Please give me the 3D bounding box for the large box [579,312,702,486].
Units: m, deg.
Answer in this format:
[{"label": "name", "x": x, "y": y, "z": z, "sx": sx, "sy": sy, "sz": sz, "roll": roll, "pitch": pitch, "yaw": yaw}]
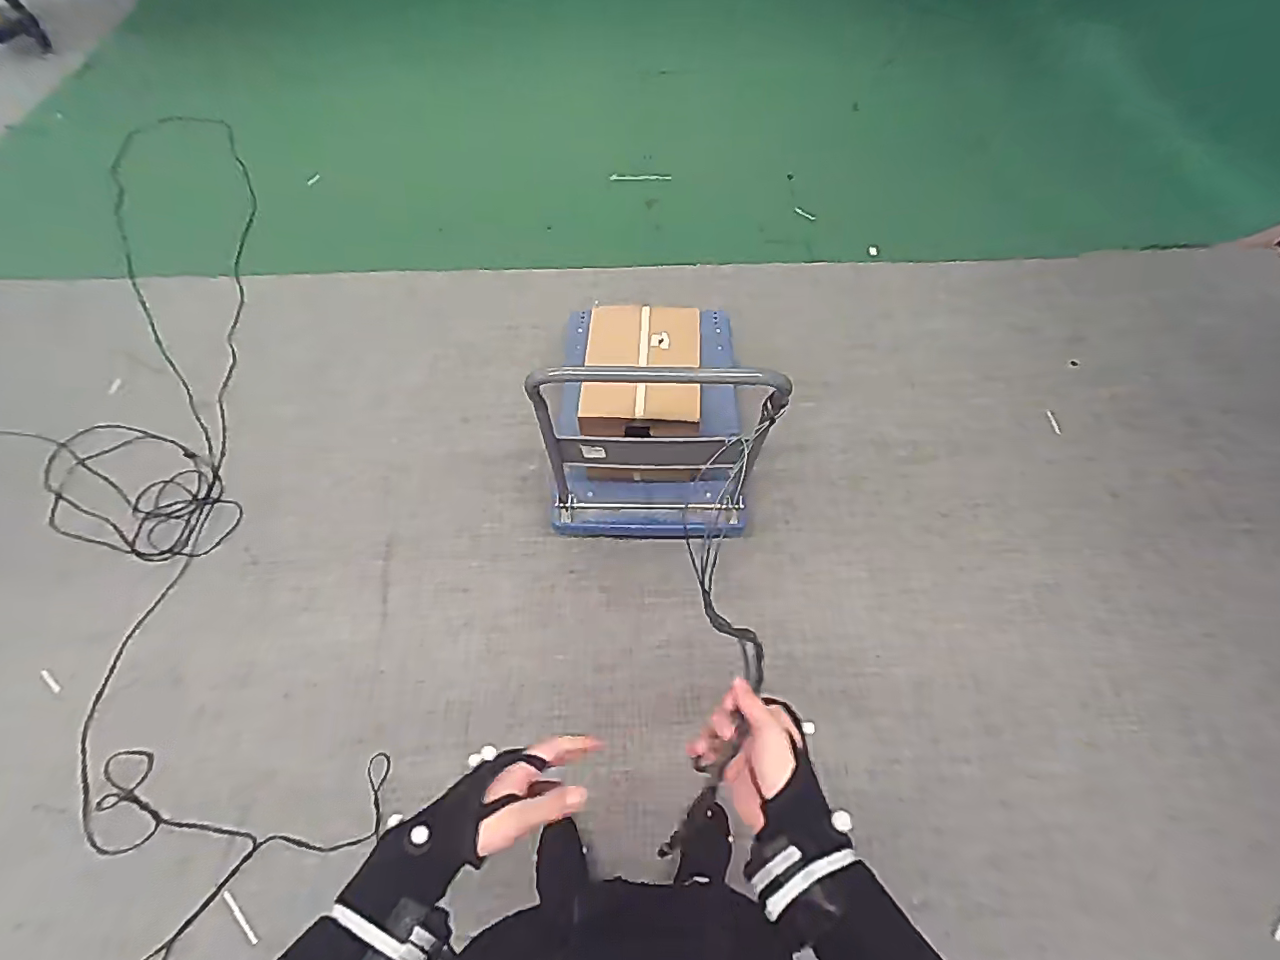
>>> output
[{"label": "large box", "x": 0.009, "y": -0.229, "z": 1.578, "sx": 0.320, "sy": 0.320, "sz": 0.408, "roll": 3, "pitch": 59, "yaw": 1}]
